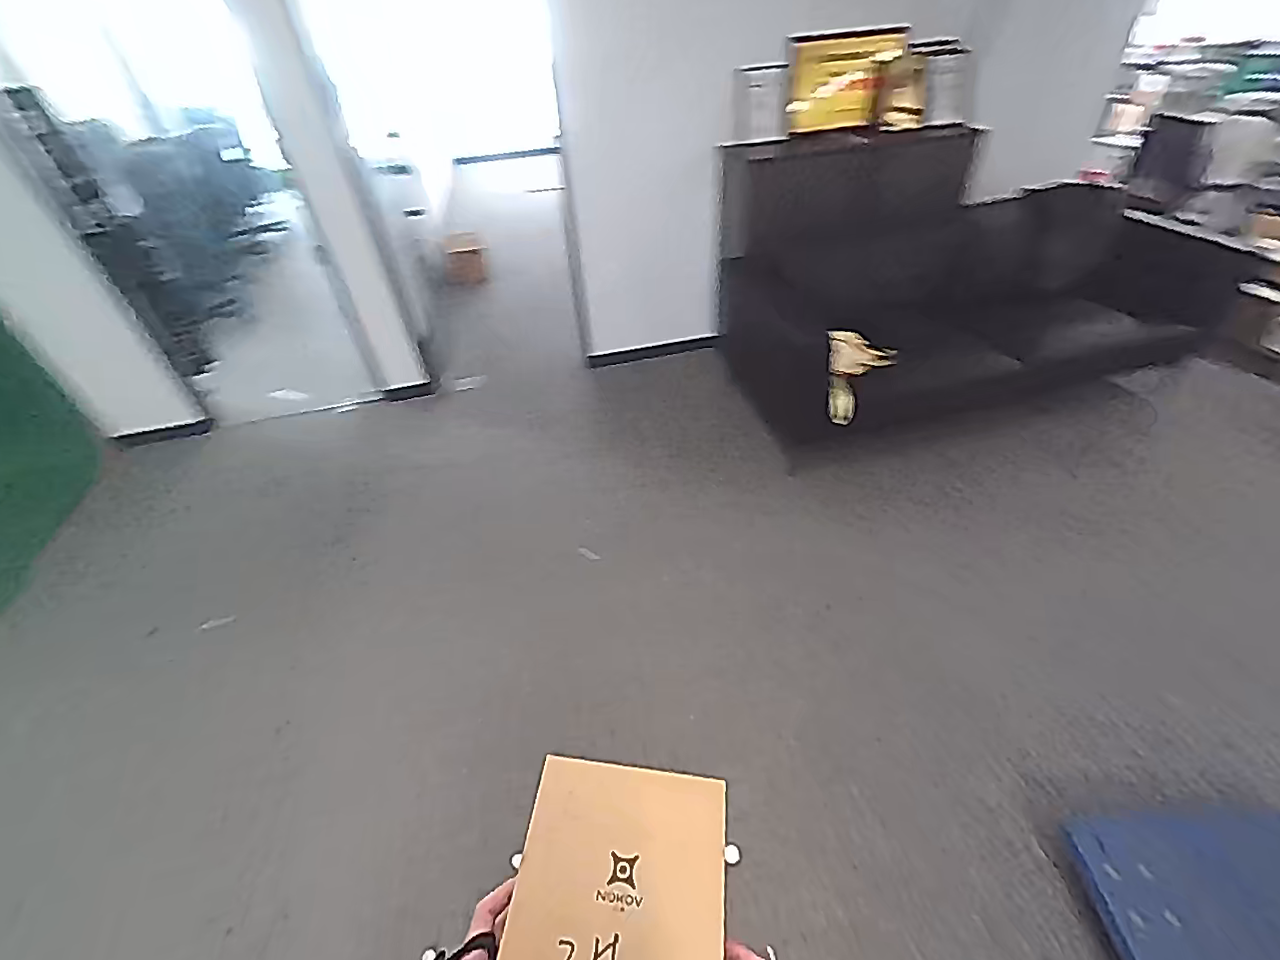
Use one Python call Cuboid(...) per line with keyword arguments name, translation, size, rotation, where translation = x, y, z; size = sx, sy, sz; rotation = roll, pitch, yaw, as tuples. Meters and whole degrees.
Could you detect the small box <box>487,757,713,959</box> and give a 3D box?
Cuboid(name="small box", translation=(-0.027, 0.383, 0.489), size=(0.168, 0.176, 0.179), rotation=(5, 43, 4))
